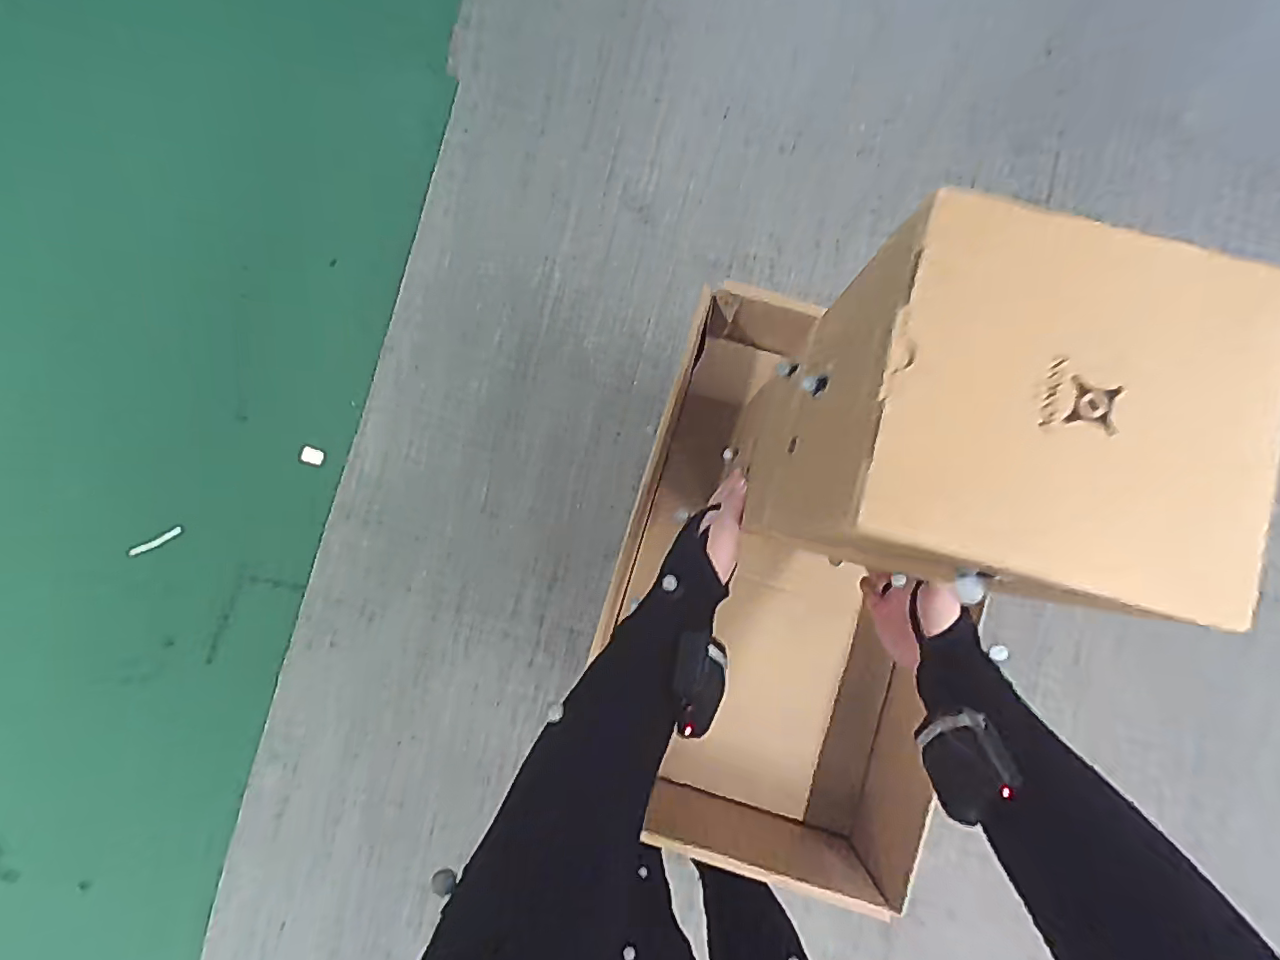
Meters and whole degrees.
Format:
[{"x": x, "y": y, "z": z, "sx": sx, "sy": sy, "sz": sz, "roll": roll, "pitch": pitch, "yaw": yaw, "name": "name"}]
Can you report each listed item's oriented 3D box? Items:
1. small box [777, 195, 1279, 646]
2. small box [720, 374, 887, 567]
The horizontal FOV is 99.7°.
[{"x": 0.200, "y": -0.023, "z": 0.316, "sx": 0.179, "sy": 0.176, "sz": 0.168, "roll": 15, "pitch": 86, "yaw": 2, "name": "small box"}, {"x": 0.208, "y": -0.005, "z": 0.641, "sx": 0.179, "sy": 0.176, "sz": 0.168, "roll": 17, "pitch": 84, "yaw": 2, "name": "small box"}]
